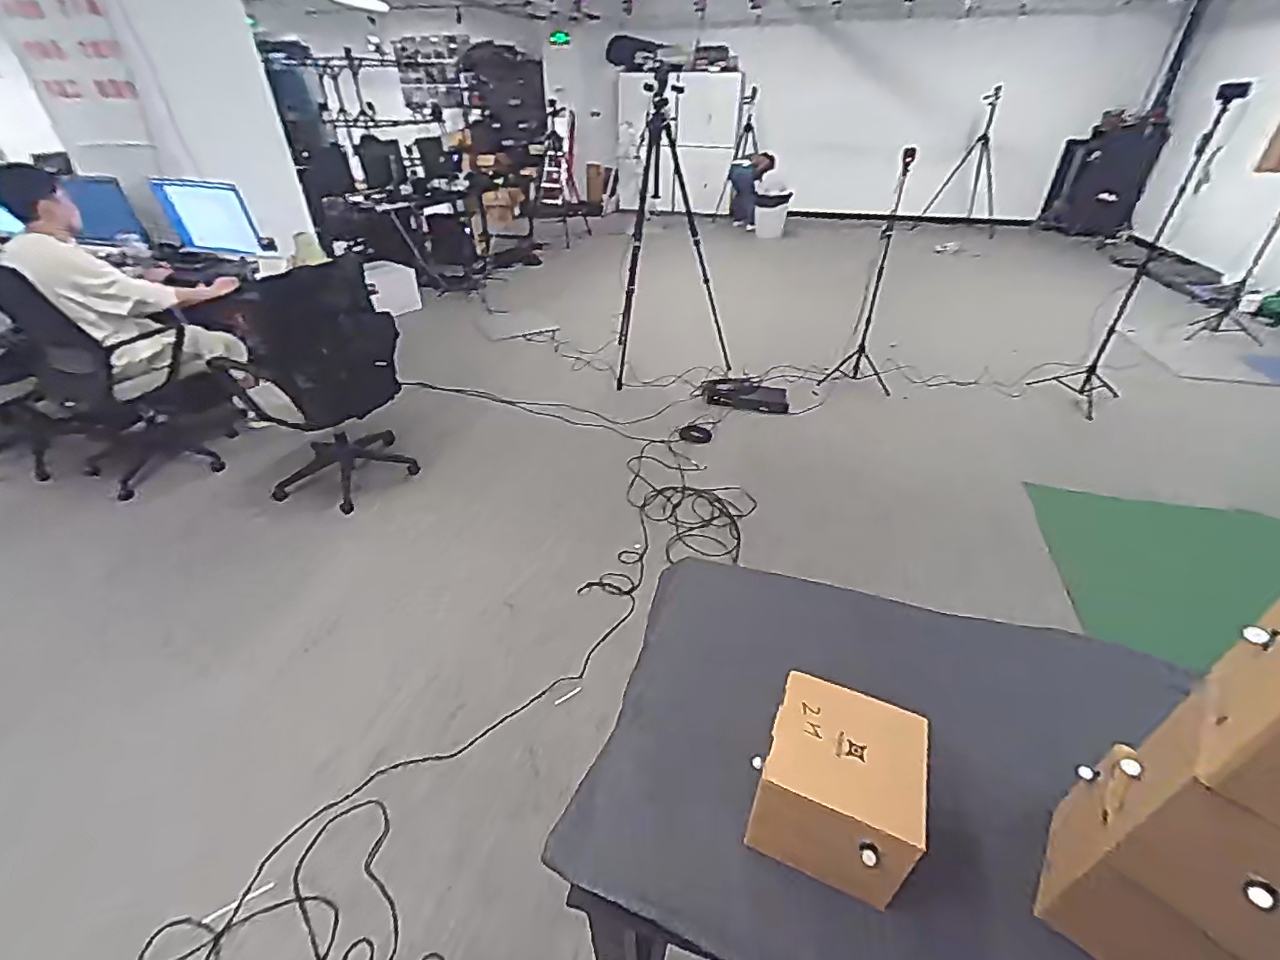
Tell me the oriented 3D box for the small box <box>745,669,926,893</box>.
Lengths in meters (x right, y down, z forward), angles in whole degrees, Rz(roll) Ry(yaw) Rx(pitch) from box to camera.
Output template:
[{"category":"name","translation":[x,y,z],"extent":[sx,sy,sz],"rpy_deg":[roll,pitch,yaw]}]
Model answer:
[{"category":"small box","translation":[0.246,0.385,0.695],"extent":[0.179,0.176,0.168],"rpy_deg":[15,36,20]}]

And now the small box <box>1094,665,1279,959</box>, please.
[{"category":"small box","translation":[0.580,0.319,0.500],"extent":[0.168,0.176,0.179],"rpy_deg":[-27,43,-34]}]

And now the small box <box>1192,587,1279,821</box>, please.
[{"category":"small box","translation":[0.577,0.185,0.408],"extent":[0.168,0.176,0.179],"rpy_deg":[-29,44,-36]}]
